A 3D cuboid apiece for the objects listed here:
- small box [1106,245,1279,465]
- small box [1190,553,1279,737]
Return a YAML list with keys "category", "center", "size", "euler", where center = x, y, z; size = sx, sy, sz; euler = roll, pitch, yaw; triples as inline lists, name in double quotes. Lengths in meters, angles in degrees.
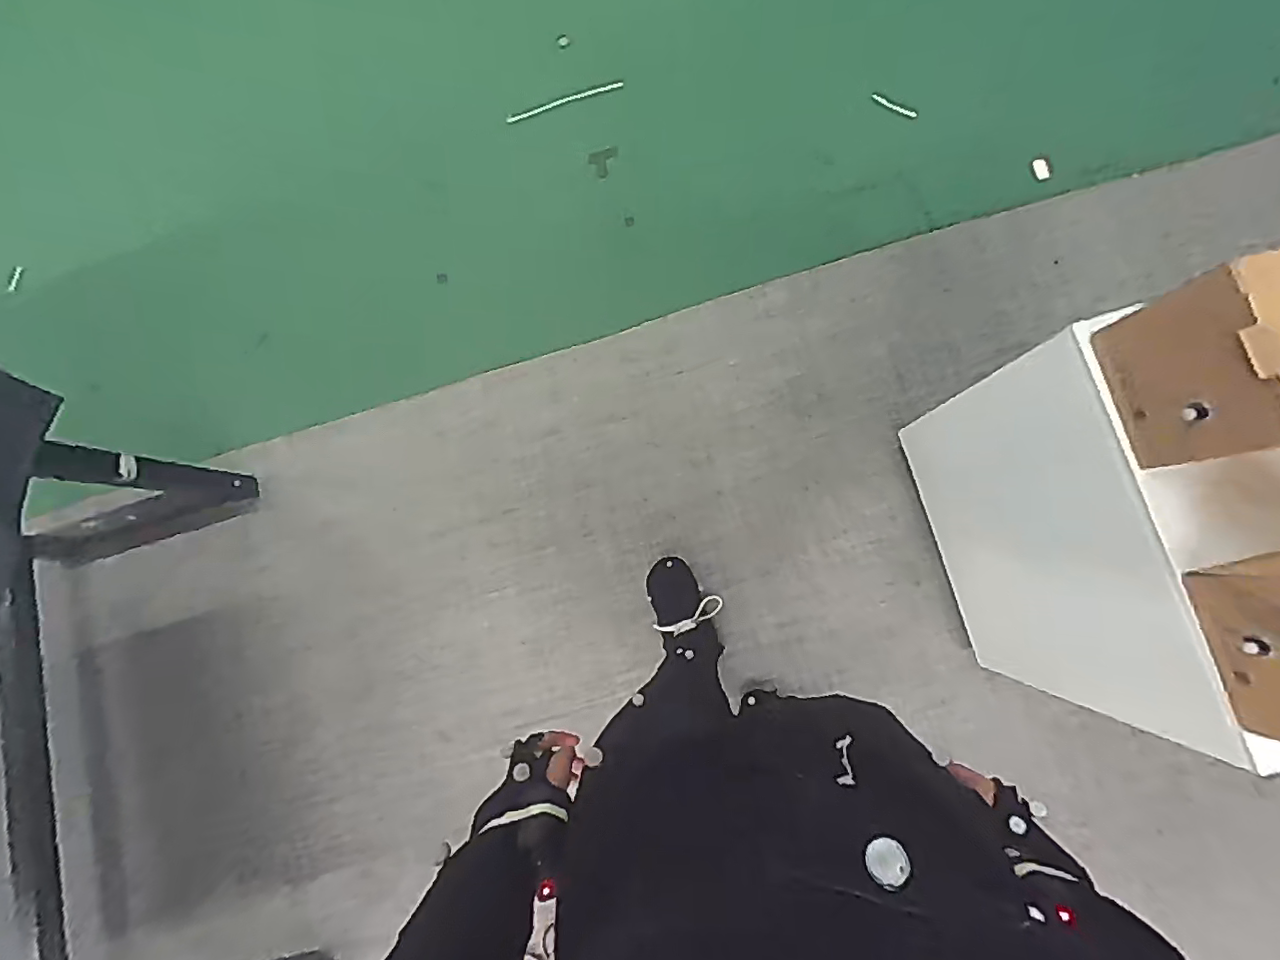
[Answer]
- category: "small box"
  center: [0.608, -0.120, 0.523]
  size: [0.179, 0.176, 0.168]
  euler: [-14, 83, 2]
- category: "small box"
  center: [0.673, 0.145, 0.479]
  size: [0.179, 0.176, 0.168]
  euler: [-14, 81, 4]
